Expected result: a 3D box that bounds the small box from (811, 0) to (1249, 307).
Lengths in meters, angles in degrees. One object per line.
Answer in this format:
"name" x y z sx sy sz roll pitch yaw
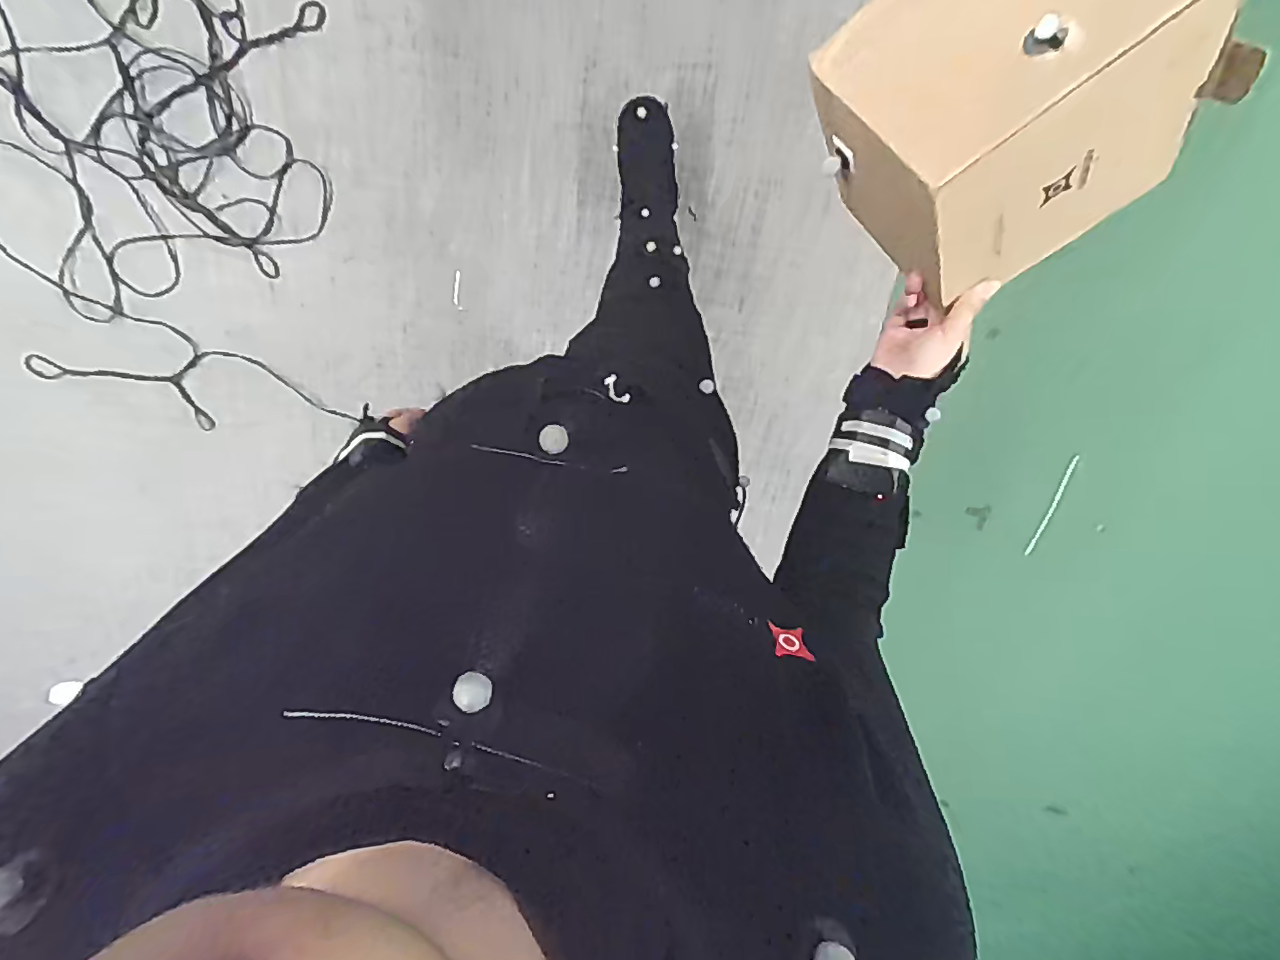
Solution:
"small box" 0.257 -0.274 0.395 0.179 0.176 0.168 -34 153 19
